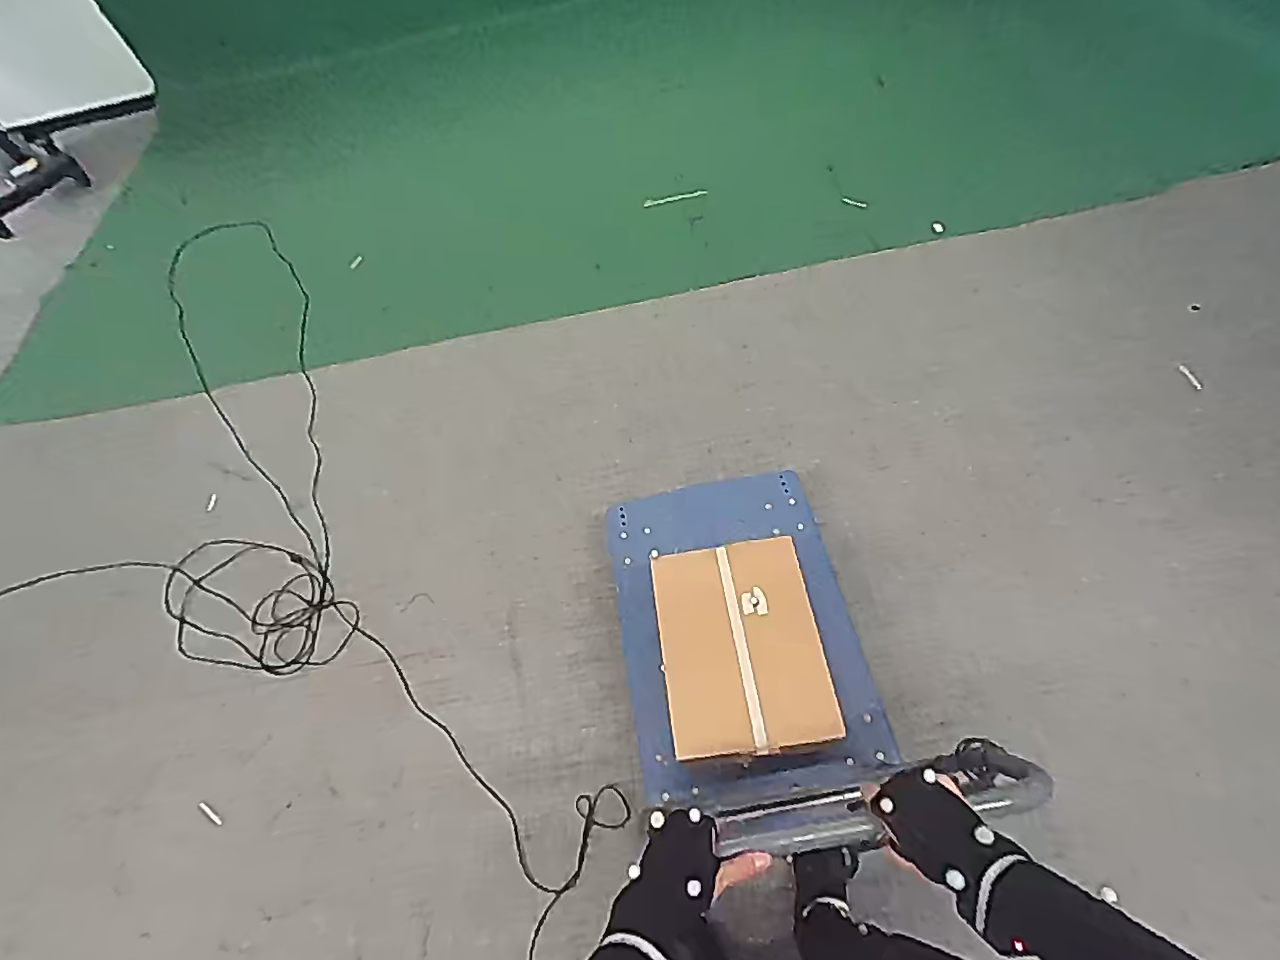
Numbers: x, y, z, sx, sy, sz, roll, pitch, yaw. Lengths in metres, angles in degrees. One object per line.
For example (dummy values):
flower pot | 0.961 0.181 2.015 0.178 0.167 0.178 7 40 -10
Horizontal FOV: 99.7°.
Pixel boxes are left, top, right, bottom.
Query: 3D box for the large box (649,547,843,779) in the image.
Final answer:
large box | 0.215 0.415 1.207 0.320 0.320 0.408 -9 58 3
